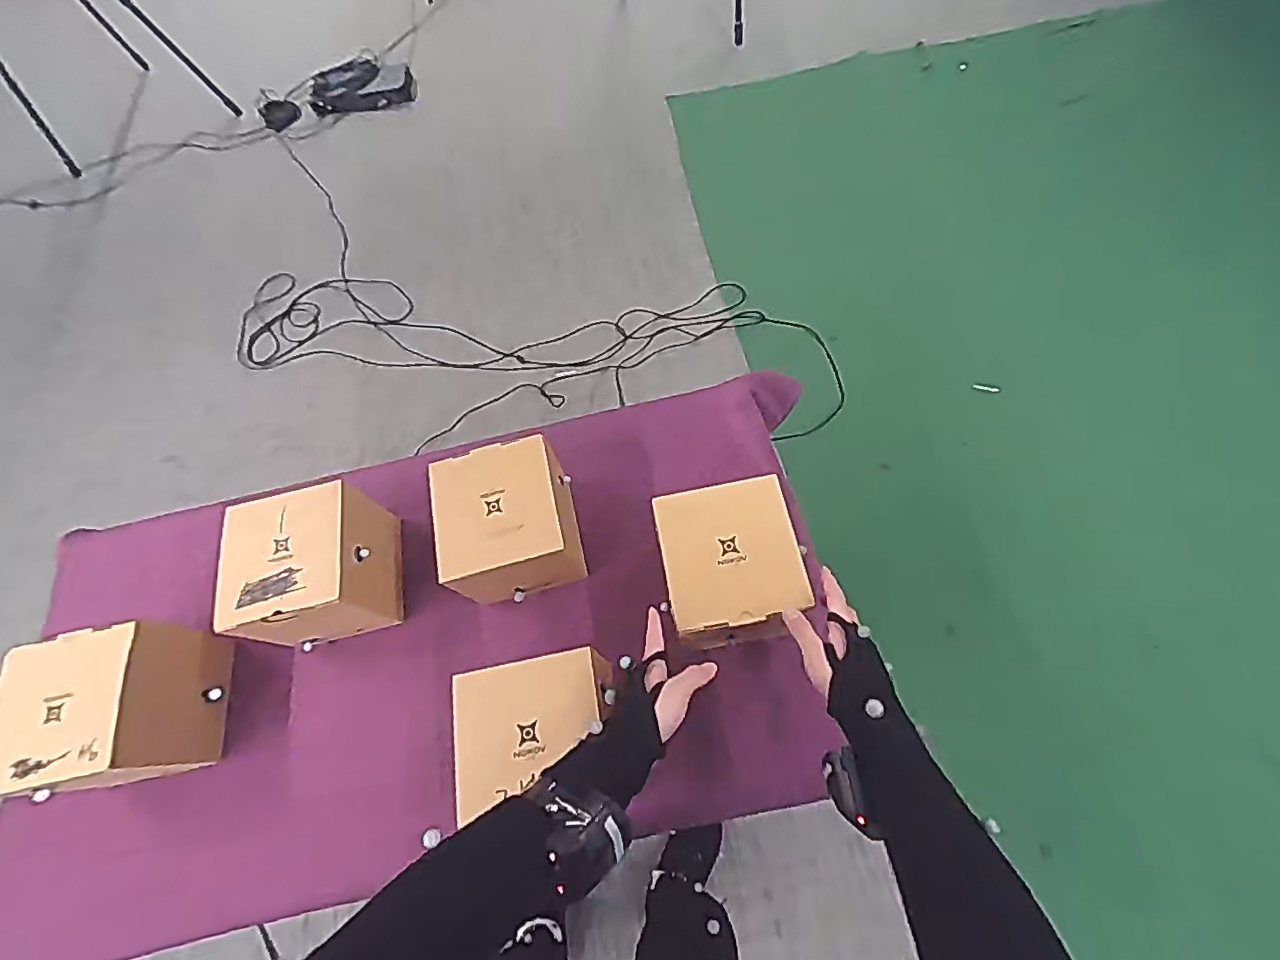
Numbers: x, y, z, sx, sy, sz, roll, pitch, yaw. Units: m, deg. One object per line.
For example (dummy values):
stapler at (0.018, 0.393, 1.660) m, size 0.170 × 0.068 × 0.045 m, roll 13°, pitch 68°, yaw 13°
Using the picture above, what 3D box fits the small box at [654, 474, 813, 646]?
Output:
small box at (0.115, 0.115, 0.734) m, size 0.168 × 0.176 × 0.179 m, roll -11°, pitch 66°, yaw 1°

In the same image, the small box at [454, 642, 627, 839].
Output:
small box at (-0.116, 0.314, 0.664) m, size 0.168 × 0.176 × 0.179 m, roll -12°, pitch 64°, yaw 1°

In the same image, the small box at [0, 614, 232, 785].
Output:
small box at (-0.696, 0.296, 0.726) m, size 0.168 × 0.176 × 0.179 m, roll -13°, pitch 65°, yaw 1°

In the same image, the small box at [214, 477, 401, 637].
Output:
small box at (-0.465, 0.122, 0.785) m, size 0.168 × 0.176 × 0.179 m, roll -13°, pitch 64°, yaw -1°

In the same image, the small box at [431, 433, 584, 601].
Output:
small box at (-0.187, 0.060, 0.788) m, size 0.168 × 0.176 × 0.179 m, roll -14°, pitch 66°, yaw 0°
